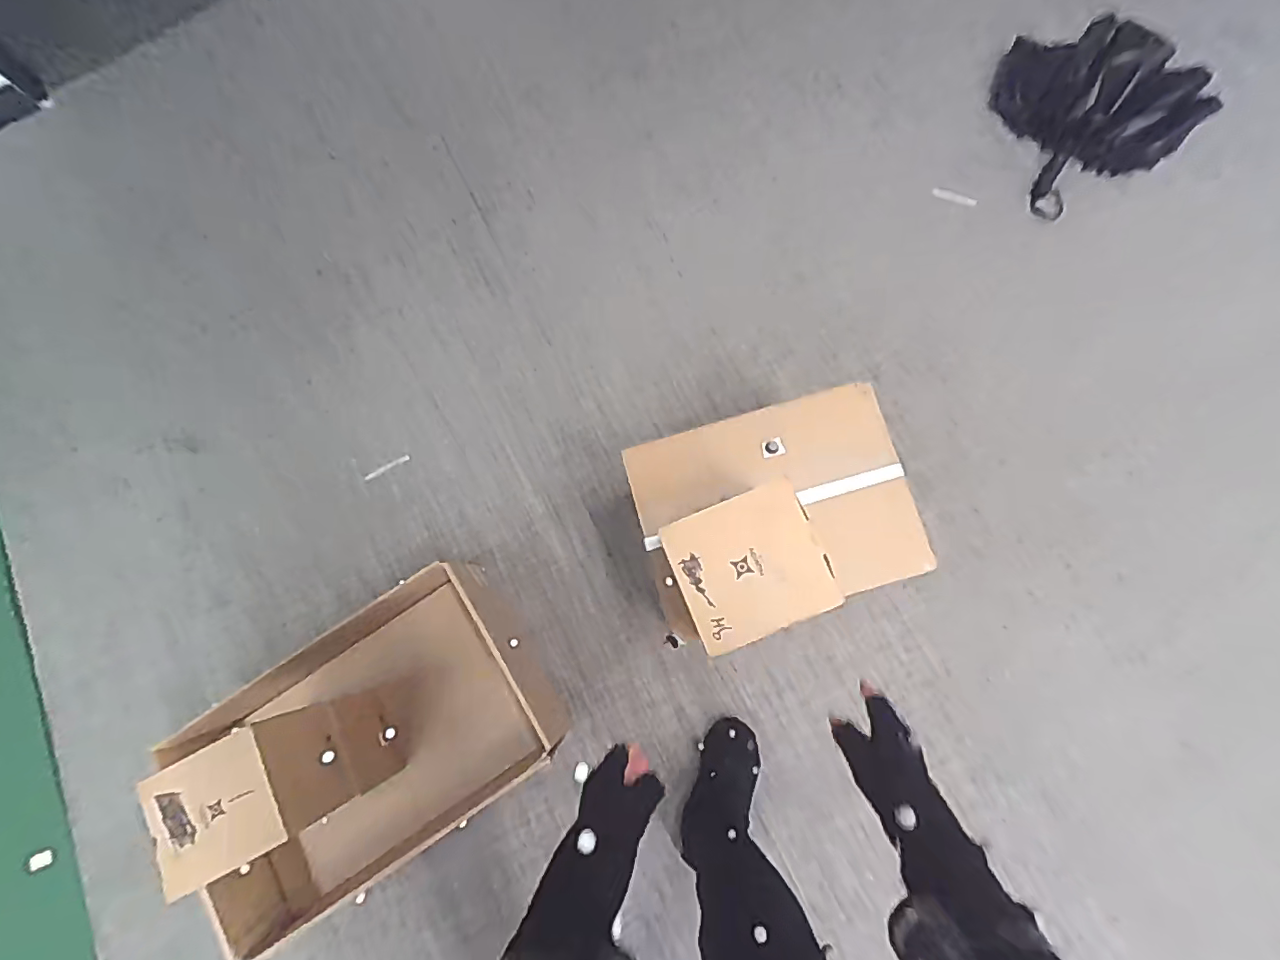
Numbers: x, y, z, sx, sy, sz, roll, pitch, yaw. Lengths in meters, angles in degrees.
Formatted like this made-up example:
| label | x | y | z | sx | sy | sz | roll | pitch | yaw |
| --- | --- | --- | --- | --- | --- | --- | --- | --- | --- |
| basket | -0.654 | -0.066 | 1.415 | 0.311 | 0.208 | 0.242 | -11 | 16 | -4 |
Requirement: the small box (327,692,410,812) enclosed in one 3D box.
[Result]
| label | x | y | z | sx | sy | sz | roll | pitch | yaw |
| --- | --- | --- | --- | --- | --- | --- | --- | --- | --- |
| small box | -0.556 | 0.507 | 0.978 | 0.179 | 0.176 | 0.168 | -26 | 78 | -4 |

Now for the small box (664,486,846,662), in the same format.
| label | x | y | z | sx | sy | sz | roll | pitch | yaw |
| --- | --- | --- | --- | --- | --- | --- | --- | --- | --- |
| small box | 0.139 | 0.123 | 0.728 | 0.179 | 0.176 | 0.168 | -22 | 79 | -1 |

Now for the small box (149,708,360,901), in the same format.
| label | x | y | z | sx | sy | sz | roll | pitch | yaw |
| --- | --- | --- | --- | --- | --- | --- | --- | --- | --- |
| small box | -0.570 | 0.472 | 0.818 | 0.179 | 0.176 | 0.168 | -27 | 78 | -4 |
